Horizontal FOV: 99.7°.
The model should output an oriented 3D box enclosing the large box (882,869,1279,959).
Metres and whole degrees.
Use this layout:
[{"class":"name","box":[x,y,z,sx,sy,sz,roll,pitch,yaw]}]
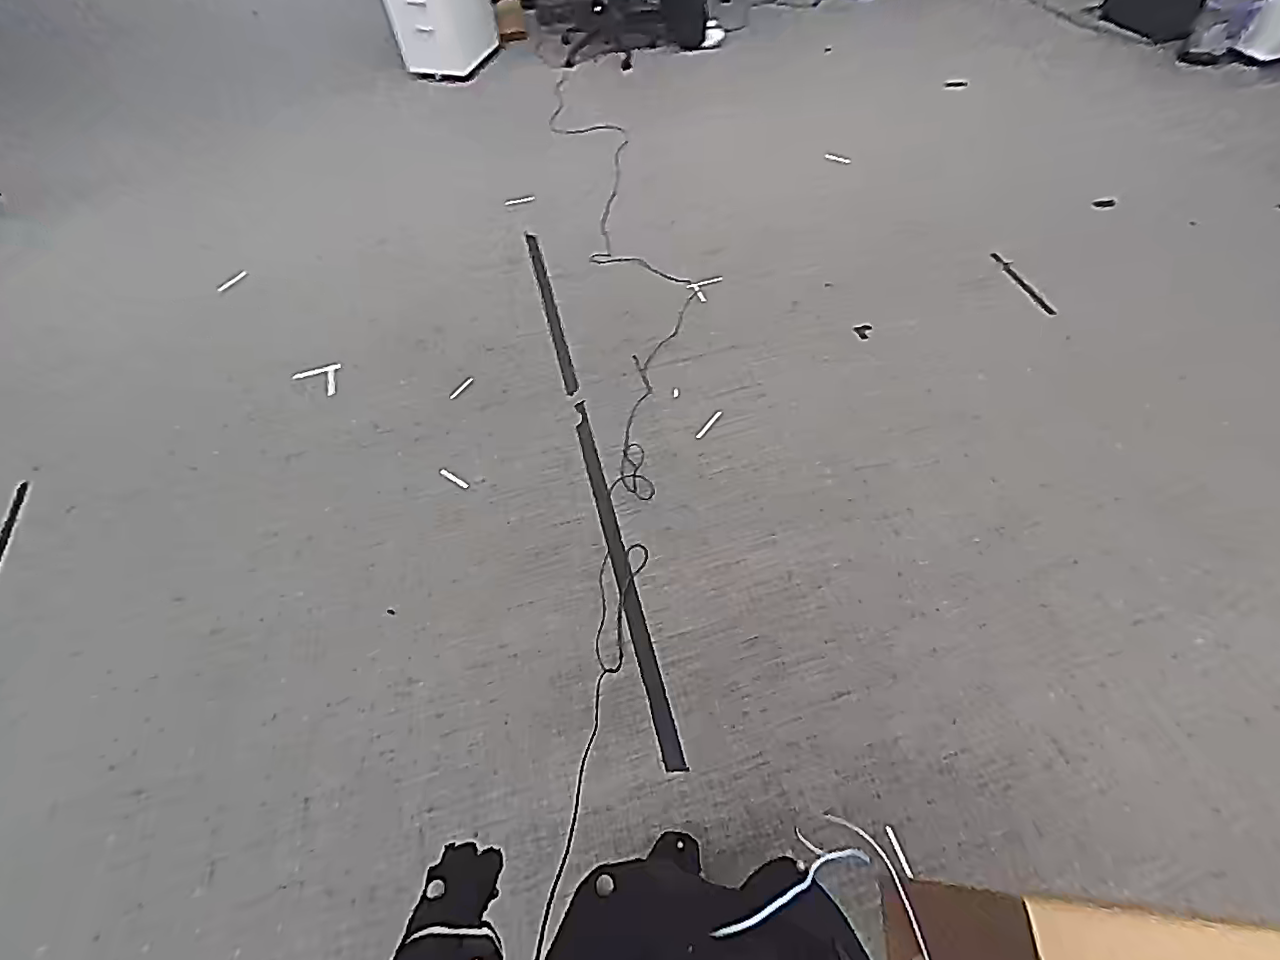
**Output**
[{"class":"large box","box":[0.539,0.674,0.646,0.320,0.408,0.320,3,57,4]}]
